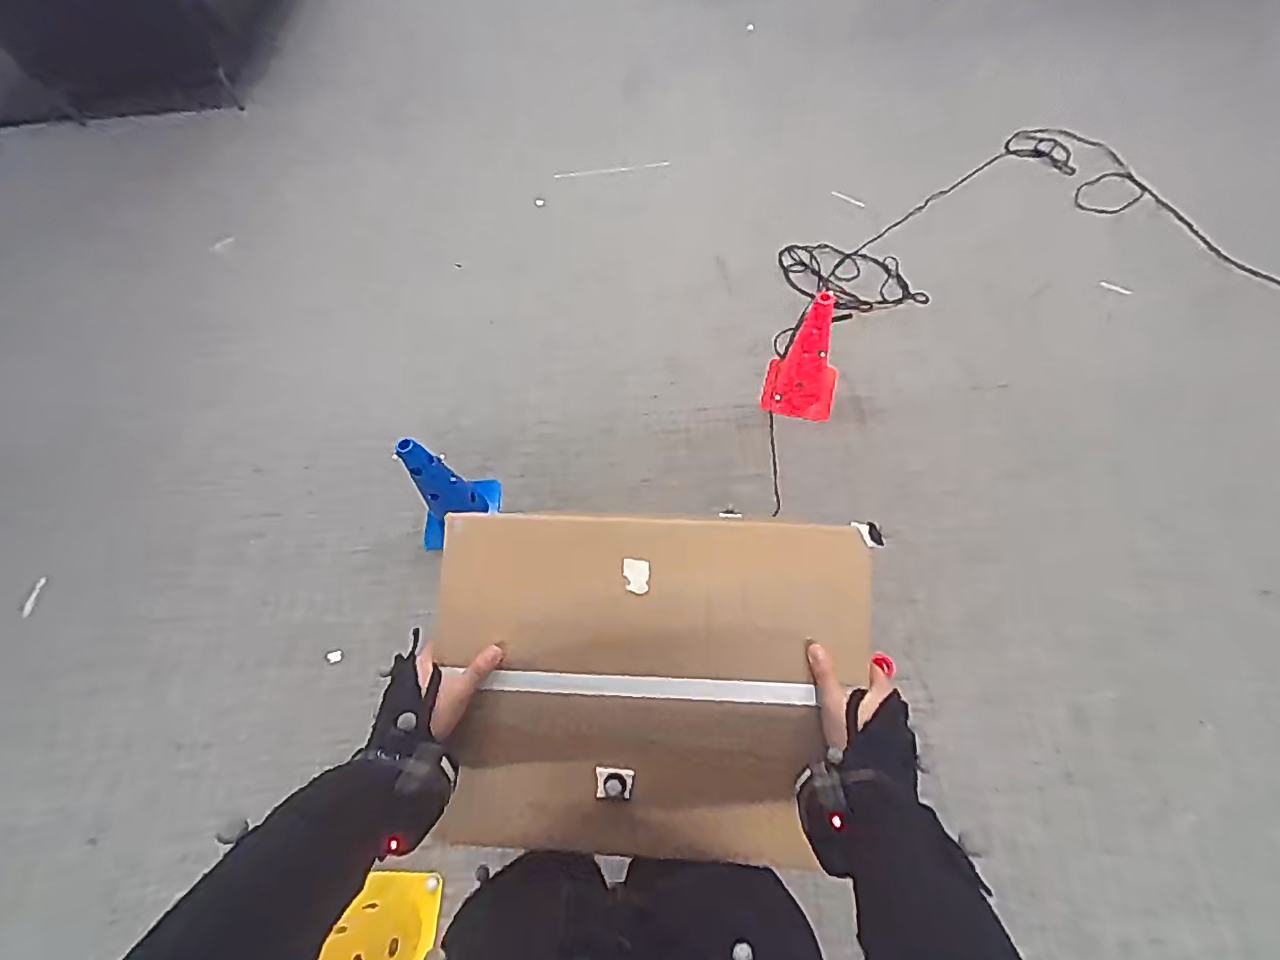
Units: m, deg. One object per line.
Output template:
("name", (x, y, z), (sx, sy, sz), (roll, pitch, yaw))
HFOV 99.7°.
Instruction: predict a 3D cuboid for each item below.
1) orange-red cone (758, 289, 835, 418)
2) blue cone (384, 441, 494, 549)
("orange-red cone", (0.444, -0.355, 1.423), (0.199, 0.360, 0.198), (14, 65, 12))
("blue cone", (-0.511, 0.016, 1.334), (0.192, 0.380, 0.193), (-4, 61, 4))
